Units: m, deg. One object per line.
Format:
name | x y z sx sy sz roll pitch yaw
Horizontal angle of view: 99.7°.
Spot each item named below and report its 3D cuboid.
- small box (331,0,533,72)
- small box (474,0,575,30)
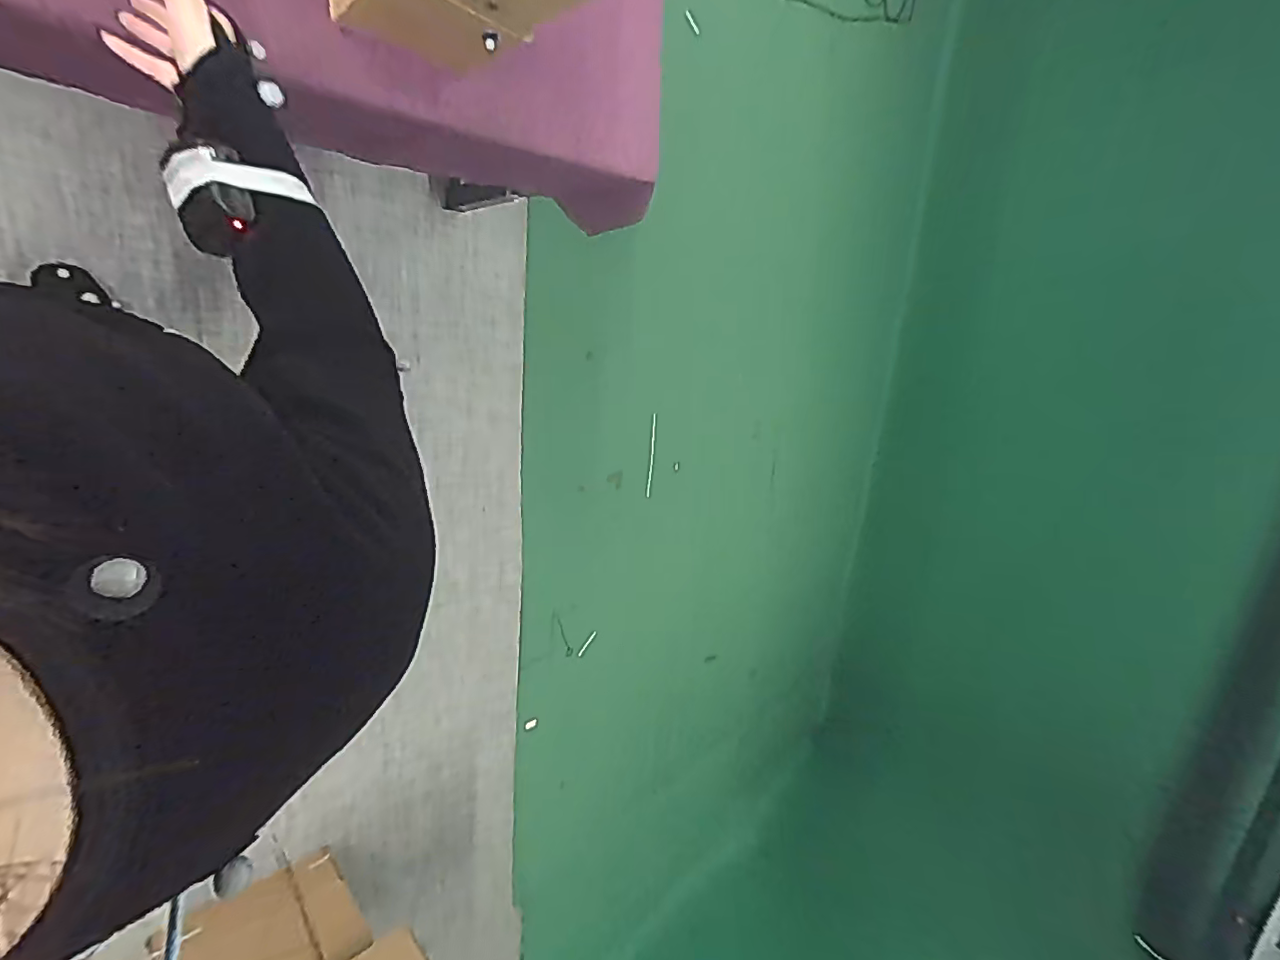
small box | -0.240 -0.603 0.613 0.179 0.176 0.168 -11 111 -44
small box | -0.123 -0.572 0.501 0.168 0.176 0.179 -8 109 -46
